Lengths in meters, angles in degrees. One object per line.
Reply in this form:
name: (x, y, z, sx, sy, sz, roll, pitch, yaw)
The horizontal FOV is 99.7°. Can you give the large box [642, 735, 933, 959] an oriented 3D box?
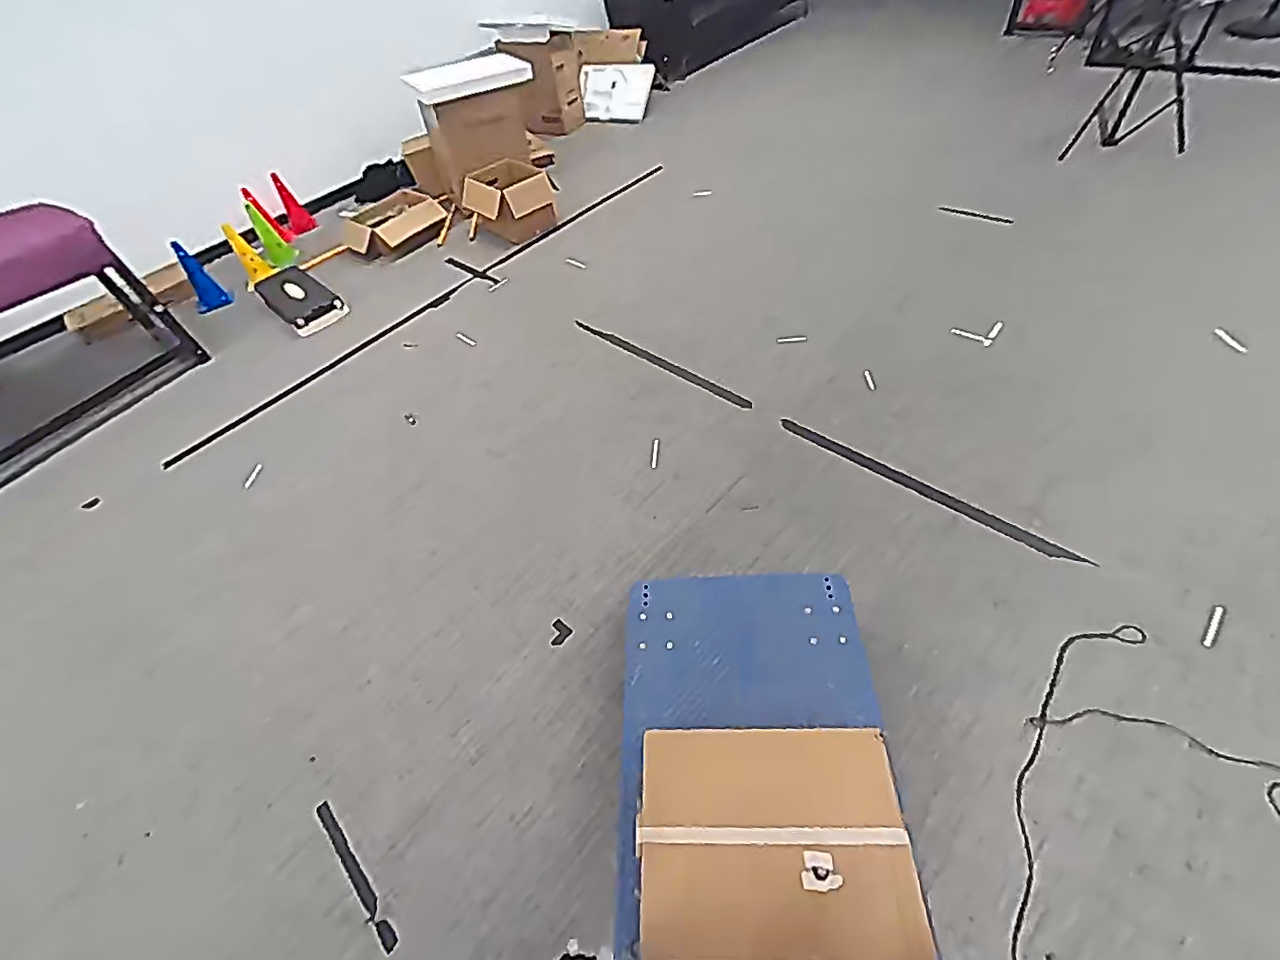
large box: (0.216, 0.656, 0.947, 0.408, 0.320, 0.320, -3, 51, 6)
